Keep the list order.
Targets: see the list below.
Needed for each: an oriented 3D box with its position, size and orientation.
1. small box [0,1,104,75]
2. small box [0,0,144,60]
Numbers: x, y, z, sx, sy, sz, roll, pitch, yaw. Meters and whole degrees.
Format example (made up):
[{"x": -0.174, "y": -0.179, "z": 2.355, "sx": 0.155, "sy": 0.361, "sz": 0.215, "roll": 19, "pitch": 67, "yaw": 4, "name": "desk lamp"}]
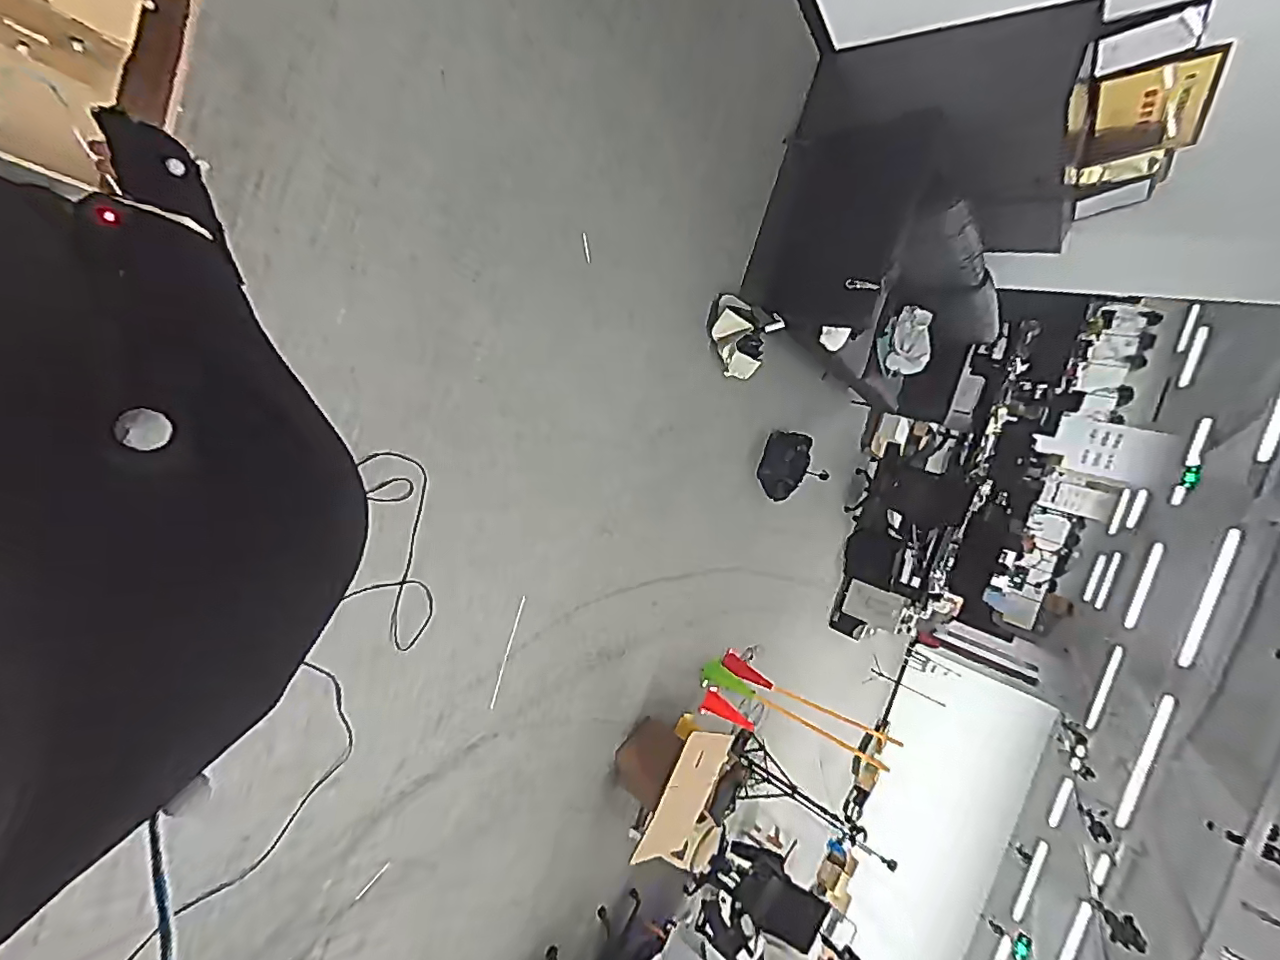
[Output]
[{"x": -0.903, "y": -0.748, "z": 0.801, "sx": 0.168, "sy": 0.176, "sz": 0.179, "roll": 4, "pitch": 103, "yaw": -50, "name": "small box"}, {"x": -0.759, "y": -0.696, "z": 0.702, "sx": 0.168, "sy": 0.176, "sz": 0.179, "roll": 10, "pitch": 98, "yaw": -52, "name": "small box"}]
